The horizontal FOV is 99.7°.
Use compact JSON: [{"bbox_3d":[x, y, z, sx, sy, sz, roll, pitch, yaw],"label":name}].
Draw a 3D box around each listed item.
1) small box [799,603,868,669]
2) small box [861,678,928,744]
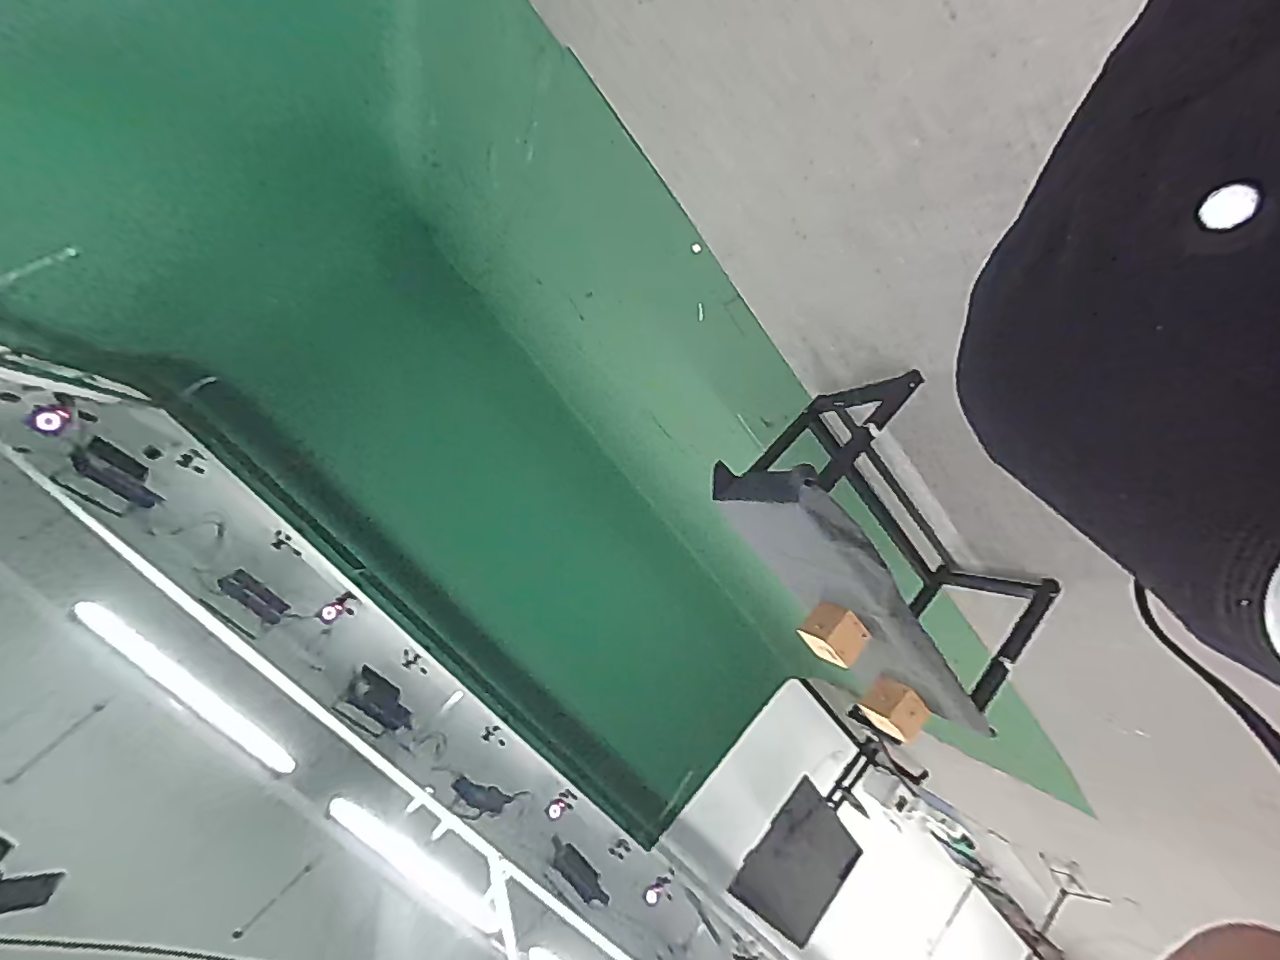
[{"bbox_3d":[0.787,0.619,2.174,0.168,0.176,0.179,50,164,-15],"label":"small box"},{"bbox_3d":[1.085,0.970,2.288,0.168,0.176,0.179,51,162,-13],"label":"small box"}]
